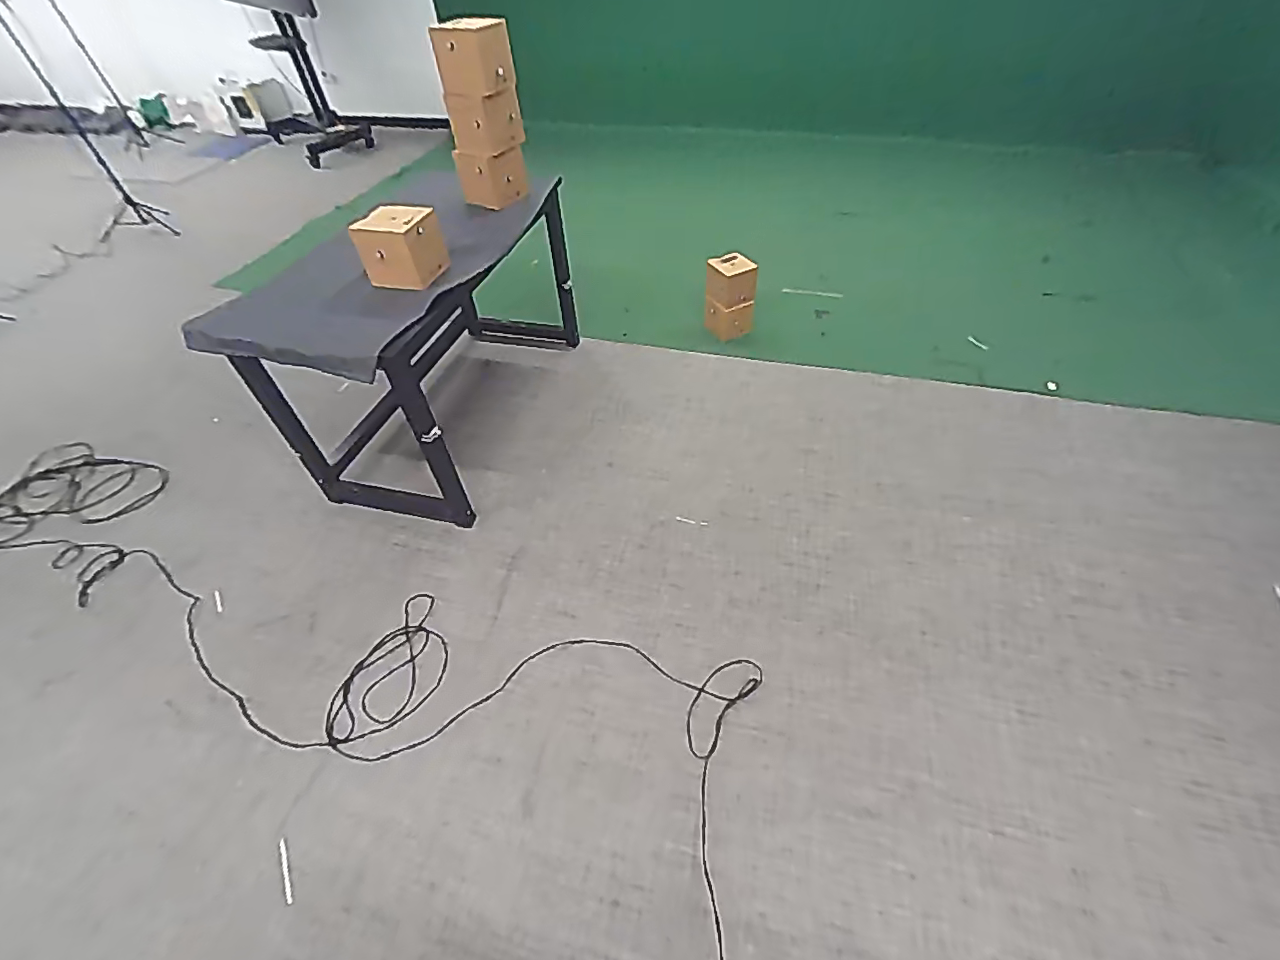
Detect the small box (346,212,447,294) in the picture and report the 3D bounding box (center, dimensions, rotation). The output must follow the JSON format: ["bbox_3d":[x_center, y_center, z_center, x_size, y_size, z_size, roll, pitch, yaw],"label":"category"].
[{"bbox_3d":[-0.690,-0.650,1.553,0.179,0.176,0.168,8,48,13],"label":"small box"}]

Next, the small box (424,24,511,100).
[{"bbox_3d":[-0.535,-1.310,1.698,0.179,0.176,0.168,16,50,18],"label":"small box"}]

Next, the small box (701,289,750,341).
[{"bbox_3d":[0.410,-0.788,2.605,0.168,0.176,0.179,-24,50,-17],"label":"small box"}]

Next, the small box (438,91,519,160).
[{"bbox_3d":[-0.533,-1.194,1.815,0.179,0.176,0.168,20,51,23],"label":"small box"}]

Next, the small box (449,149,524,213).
[{"bbox_3d":[-0.538,-1.073,1.924,0.179,0.176,0.168,24,53,26],"label":"small box"}]
